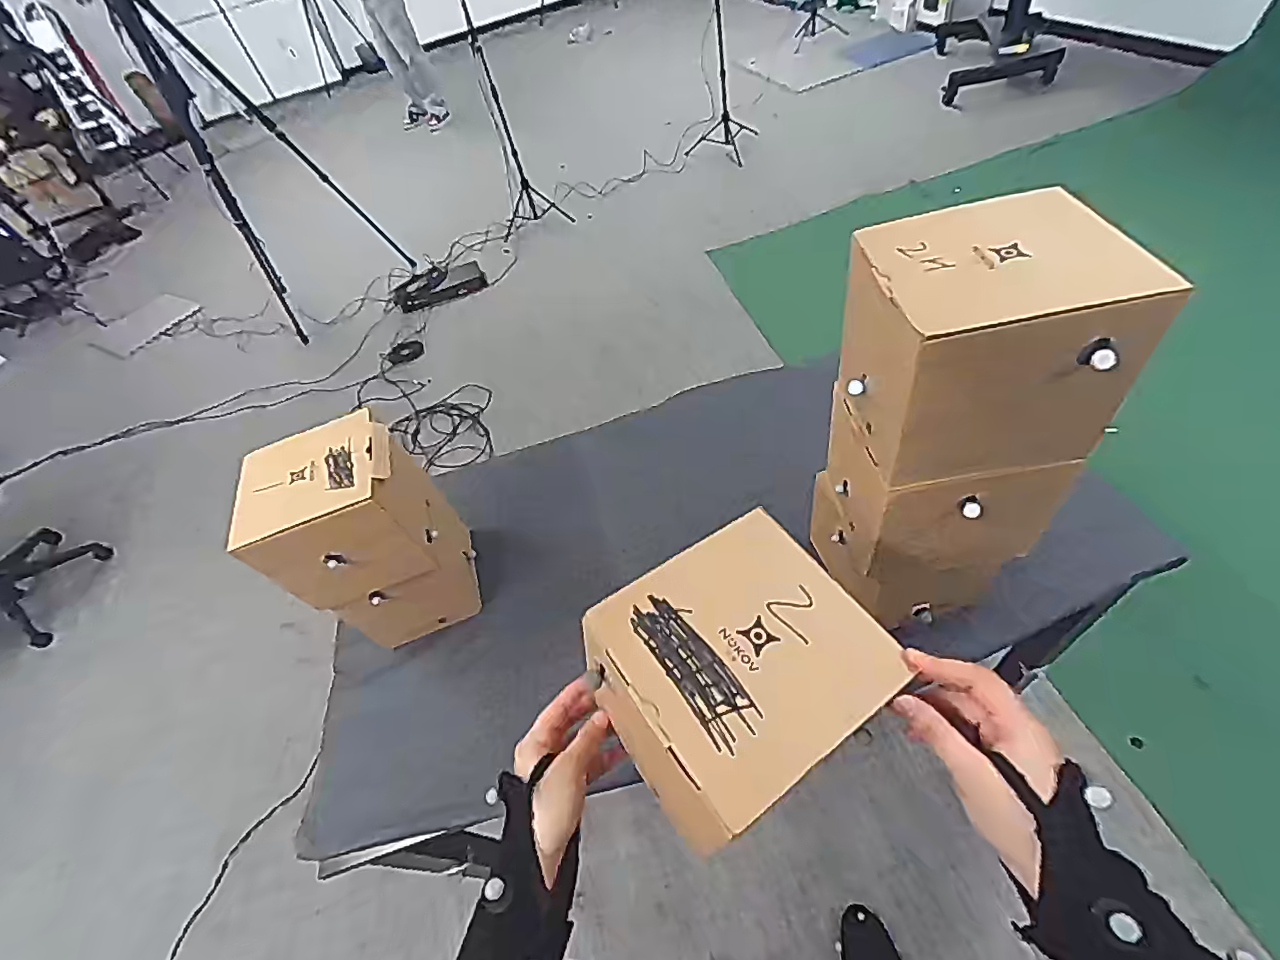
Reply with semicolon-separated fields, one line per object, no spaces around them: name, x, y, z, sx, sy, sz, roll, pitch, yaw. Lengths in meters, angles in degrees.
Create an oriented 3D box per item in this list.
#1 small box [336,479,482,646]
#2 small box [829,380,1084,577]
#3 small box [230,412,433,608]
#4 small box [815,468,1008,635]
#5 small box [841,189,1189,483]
small box;-0.370;0.134;0.867;0.168;0.176;0.179;-22;50;-4
small box;0.321;-0.012;0.597;0.179;0.176;0.168;-11;49;7
small box;-0.395;0.045;0.729;0.179;0.176;0.168;-21;51;-3
small box;0.350;0.079;0.730;0.168;0.176;0.179;-19;50;0
small box;0.290;-0.118;0.475;0.179;0.176;0.168;-10;49;8
